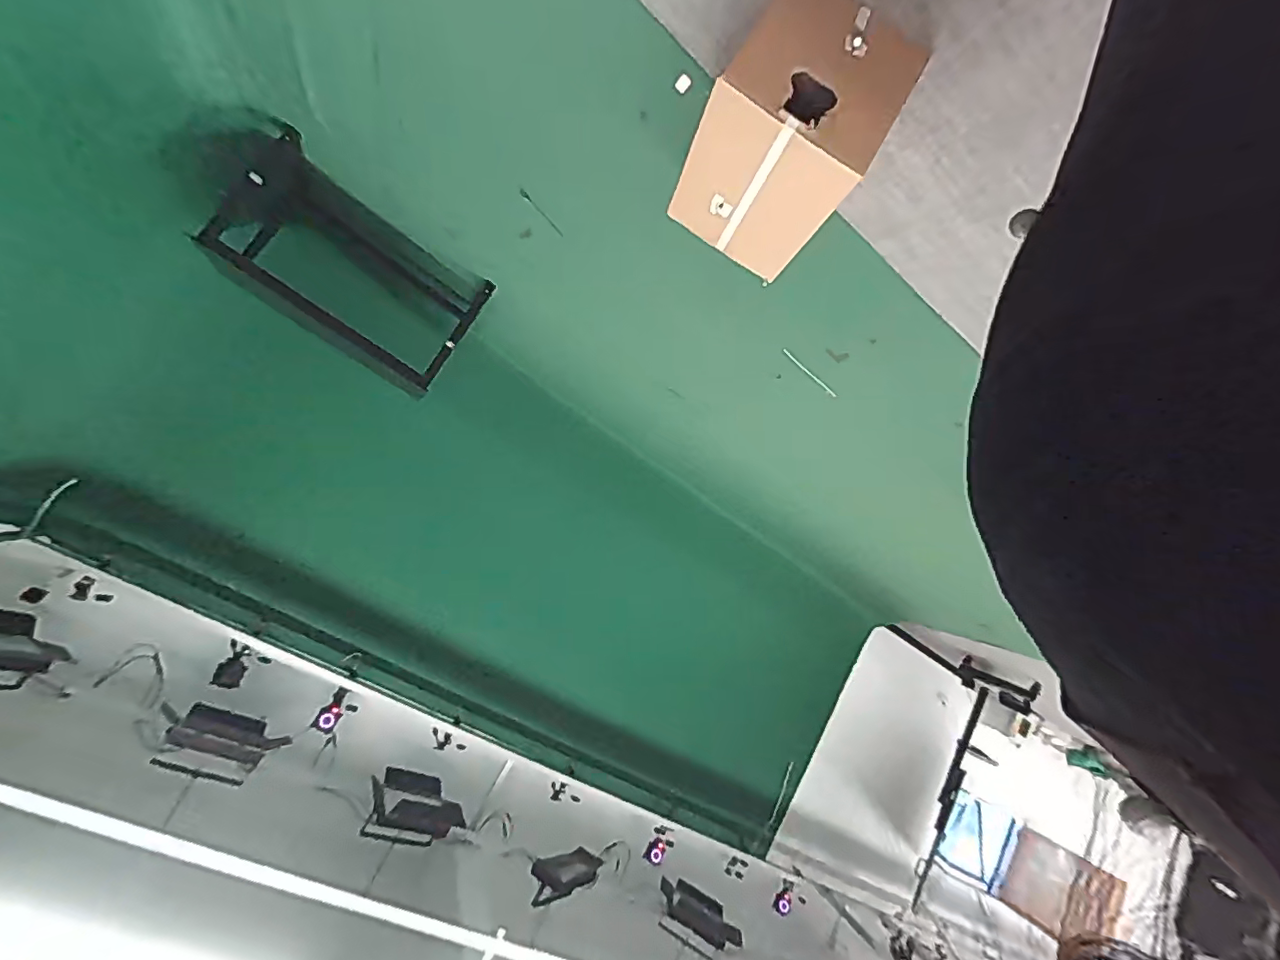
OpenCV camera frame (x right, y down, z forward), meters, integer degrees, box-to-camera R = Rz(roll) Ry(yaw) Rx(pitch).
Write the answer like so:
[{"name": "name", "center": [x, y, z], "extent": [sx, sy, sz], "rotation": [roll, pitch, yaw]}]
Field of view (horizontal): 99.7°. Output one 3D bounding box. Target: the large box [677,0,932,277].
[{"name": "large box", "center": [0.320, -0.728, 1.157], "extent": [0.320, 0.320, 0.408], "rotation": [32, 170, -4]}]
